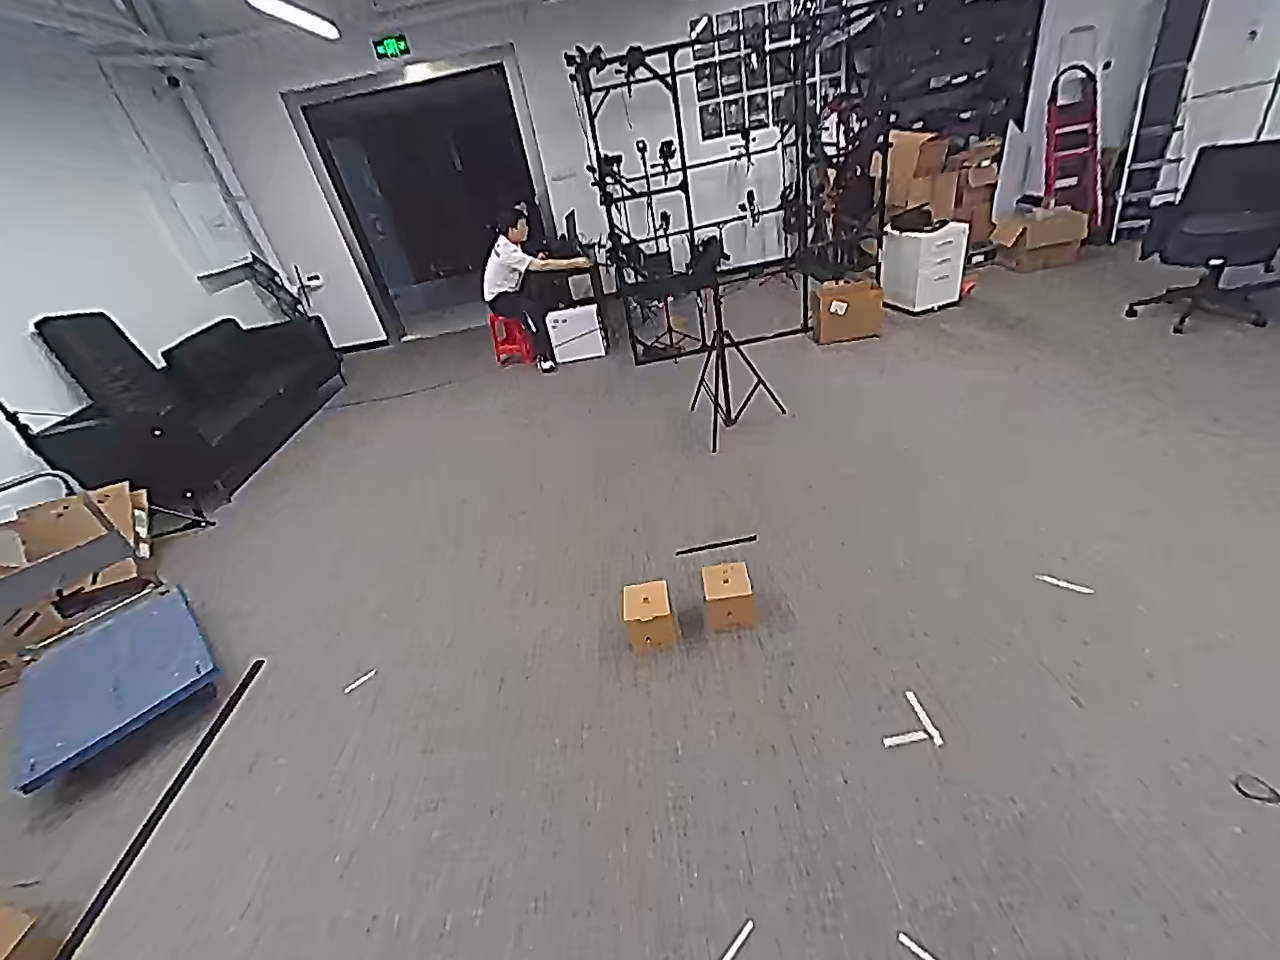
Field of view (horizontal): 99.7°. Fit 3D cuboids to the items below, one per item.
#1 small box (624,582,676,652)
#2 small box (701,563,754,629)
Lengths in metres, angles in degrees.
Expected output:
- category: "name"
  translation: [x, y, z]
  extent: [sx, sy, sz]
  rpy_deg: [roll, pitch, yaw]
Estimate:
- category: "small box"
  translation: [0.036, 0.507, 1.999]
  extent: [0.168, 0.176, 0.179]
  rpy_deg: [-11, 32, 3]
- category: "small box"
  translation: [0.325, 0.436, 2.007]
  extent: [0.168, 0.176, 0.179]
  rpy_deg: [-8, 31, 5]
